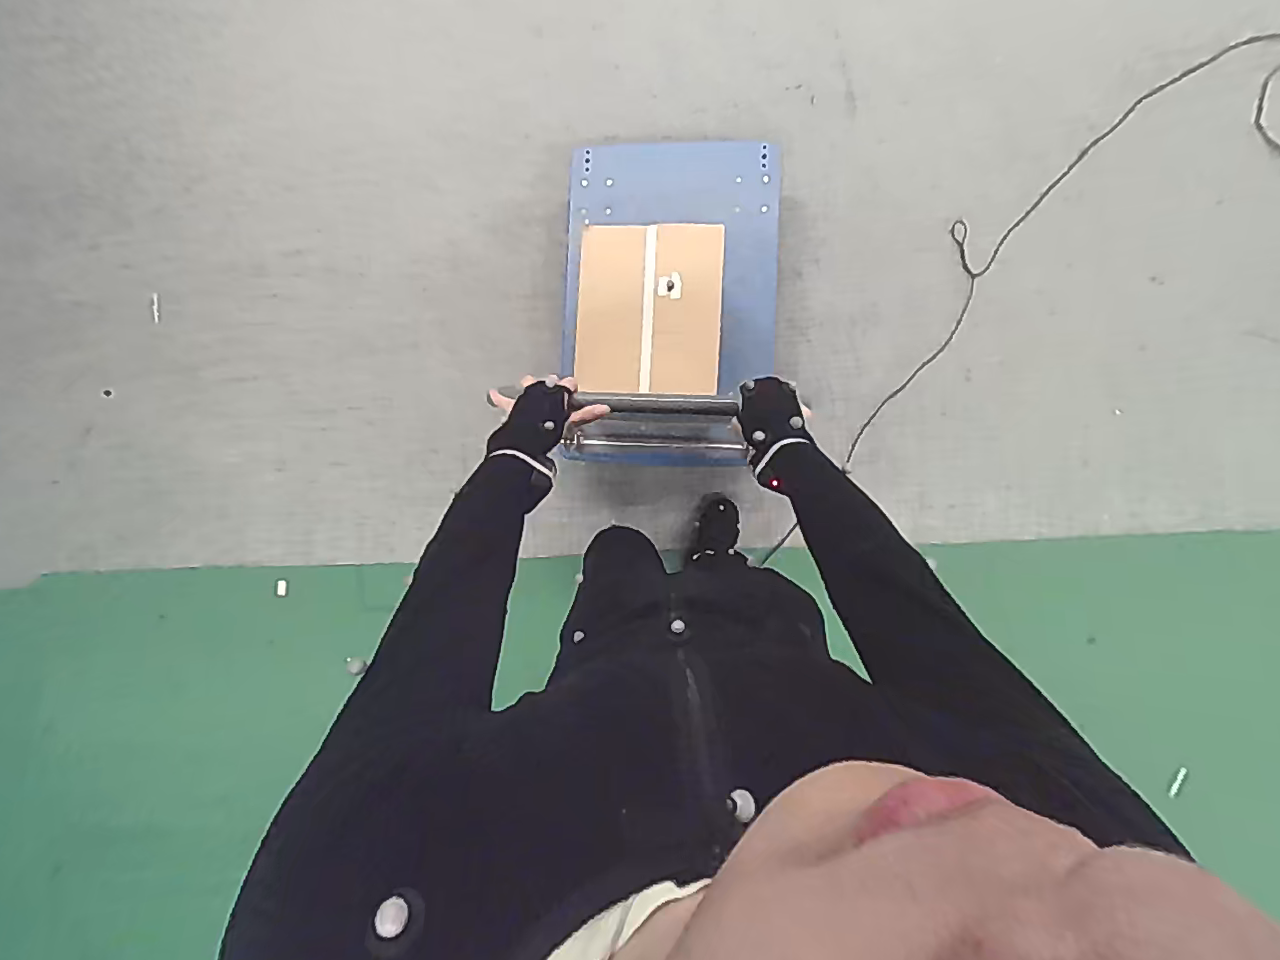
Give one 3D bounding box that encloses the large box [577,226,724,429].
[{"bbox_3d":[0.039,-0.342,1.314,0.320,0.320,0.408,2,87,6],"label":"large box"}]
